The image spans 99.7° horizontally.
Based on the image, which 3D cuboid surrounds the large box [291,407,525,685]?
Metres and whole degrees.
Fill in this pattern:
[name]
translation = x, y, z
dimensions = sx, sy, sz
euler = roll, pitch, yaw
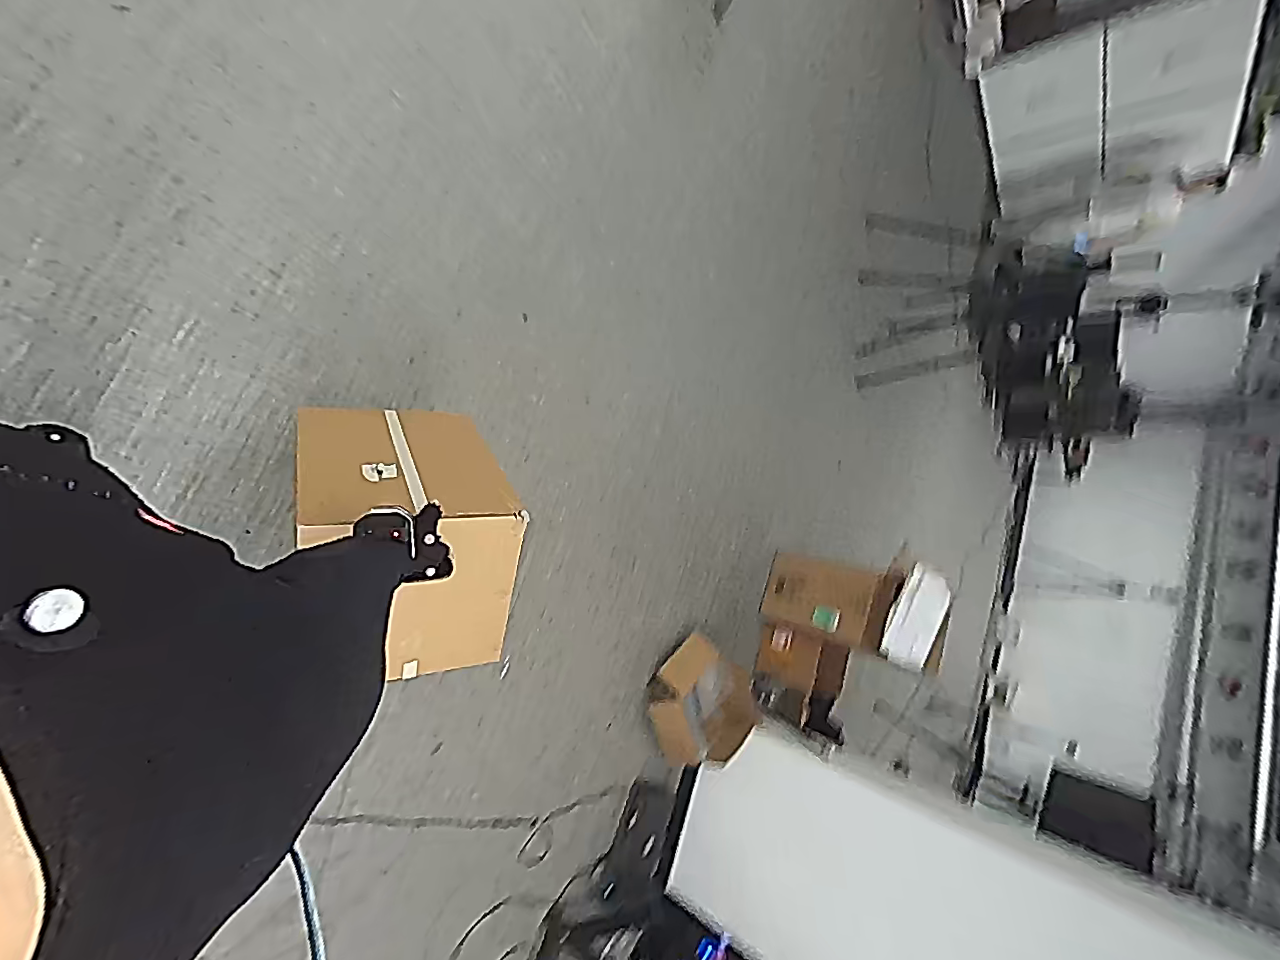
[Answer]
[large box]
translation = -0.446, 0.091, 0.995
dimensions = 0.320, 0.408, 0.320
euler = -3, 122, -32
